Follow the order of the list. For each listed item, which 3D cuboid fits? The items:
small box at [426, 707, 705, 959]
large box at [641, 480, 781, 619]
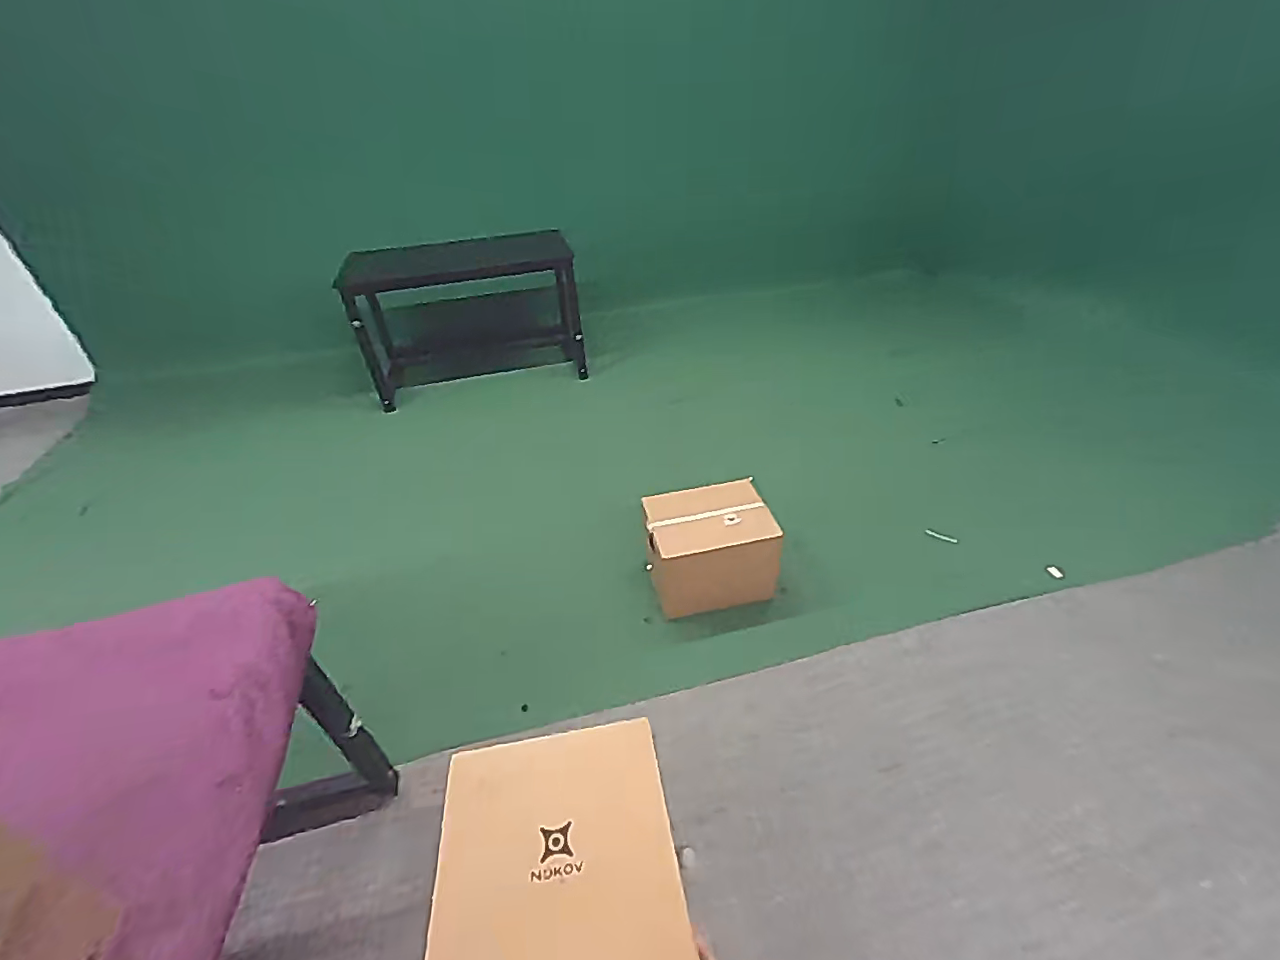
[{"bbox_3d":[-0.052,0.313,0.418,0.168,0.176,0.179,-8,33,-7],"label":"small box"},{"bbox_3d":[0.233,0.240,1.897,0.408,0.320,0.320,-9,38,-8],"label":"large box"}]
